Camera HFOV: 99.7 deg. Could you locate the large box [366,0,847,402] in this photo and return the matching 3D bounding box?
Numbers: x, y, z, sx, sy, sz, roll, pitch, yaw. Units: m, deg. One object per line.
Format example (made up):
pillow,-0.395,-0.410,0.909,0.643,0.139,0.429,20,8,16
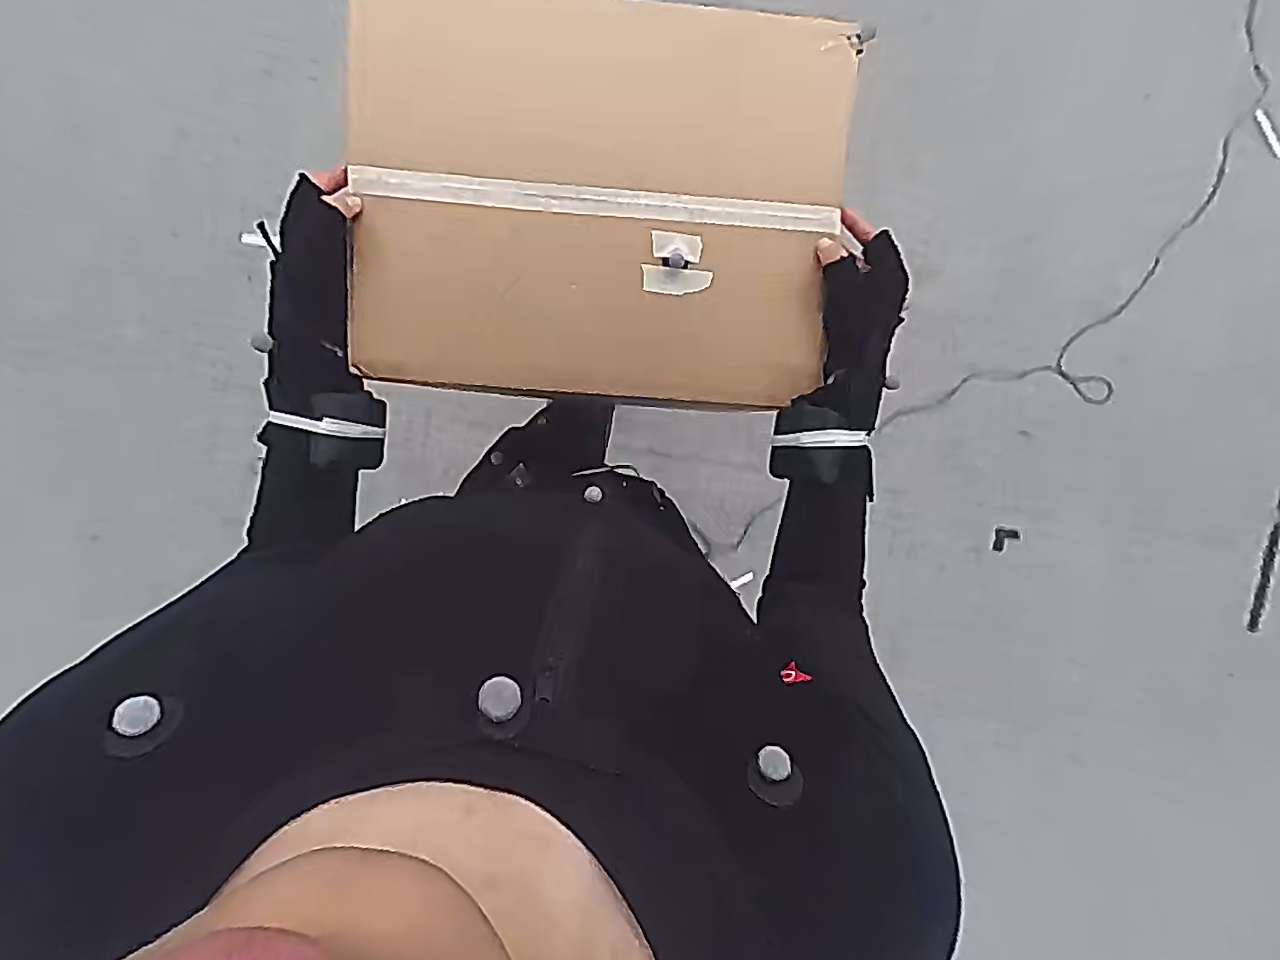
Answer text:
large box,-0.040,-0.257,0.609,0.408,0.320,0.320,4,97,-4
